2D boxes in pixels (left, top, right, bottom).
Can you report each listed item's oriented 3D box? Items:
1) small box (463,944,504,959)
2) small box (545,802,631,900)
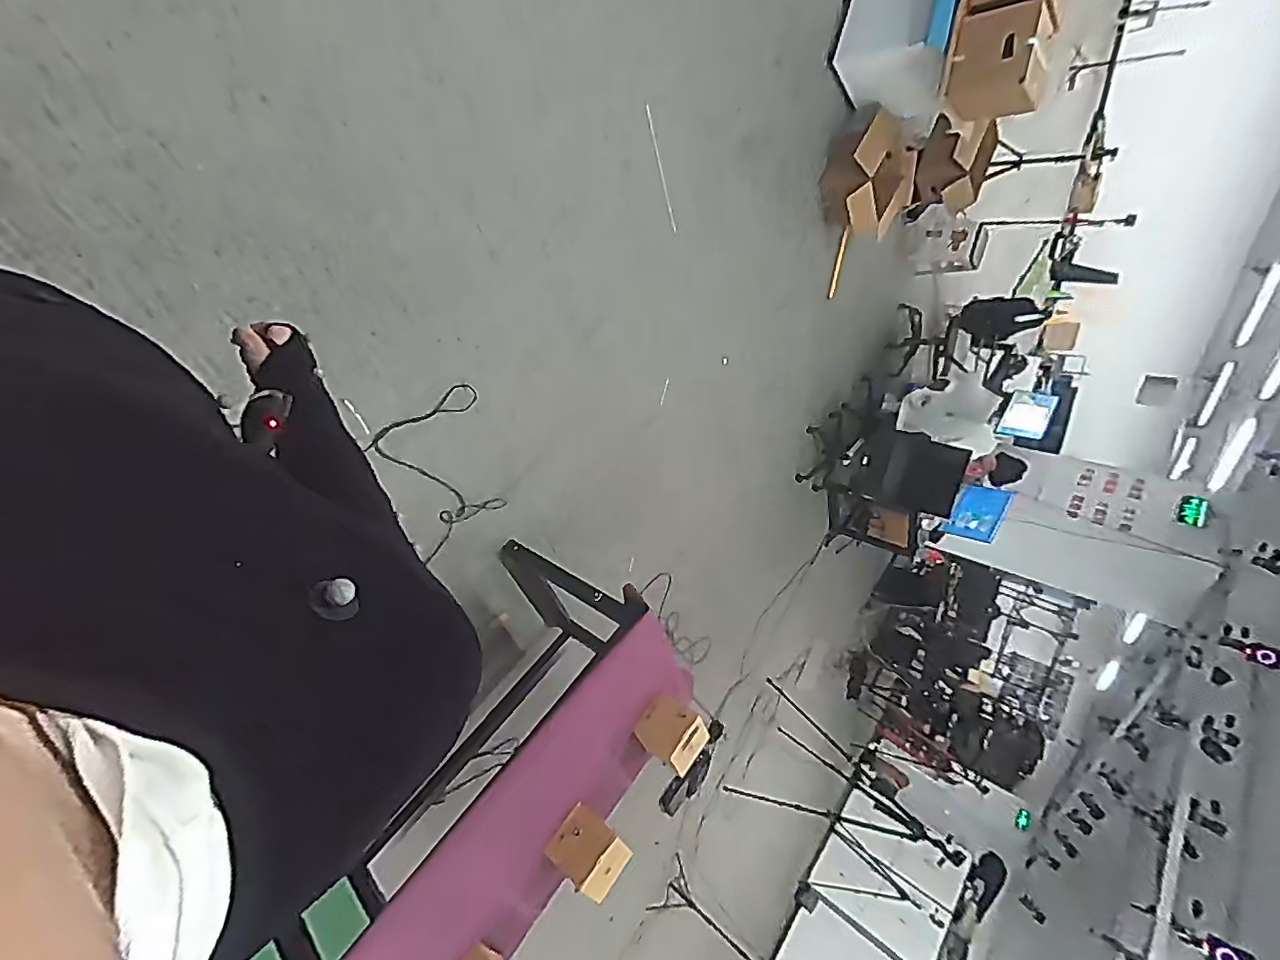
[{"bbox_3d":[-0.421,1.408,1.458,0.168,0.176,0.179,-45,135,-31],"label":"small box"},{"bbox_3d":[-0.160,1.134,1.661,0.168,0.176,0.179,-46,136,-27],"label":"small box"}]
